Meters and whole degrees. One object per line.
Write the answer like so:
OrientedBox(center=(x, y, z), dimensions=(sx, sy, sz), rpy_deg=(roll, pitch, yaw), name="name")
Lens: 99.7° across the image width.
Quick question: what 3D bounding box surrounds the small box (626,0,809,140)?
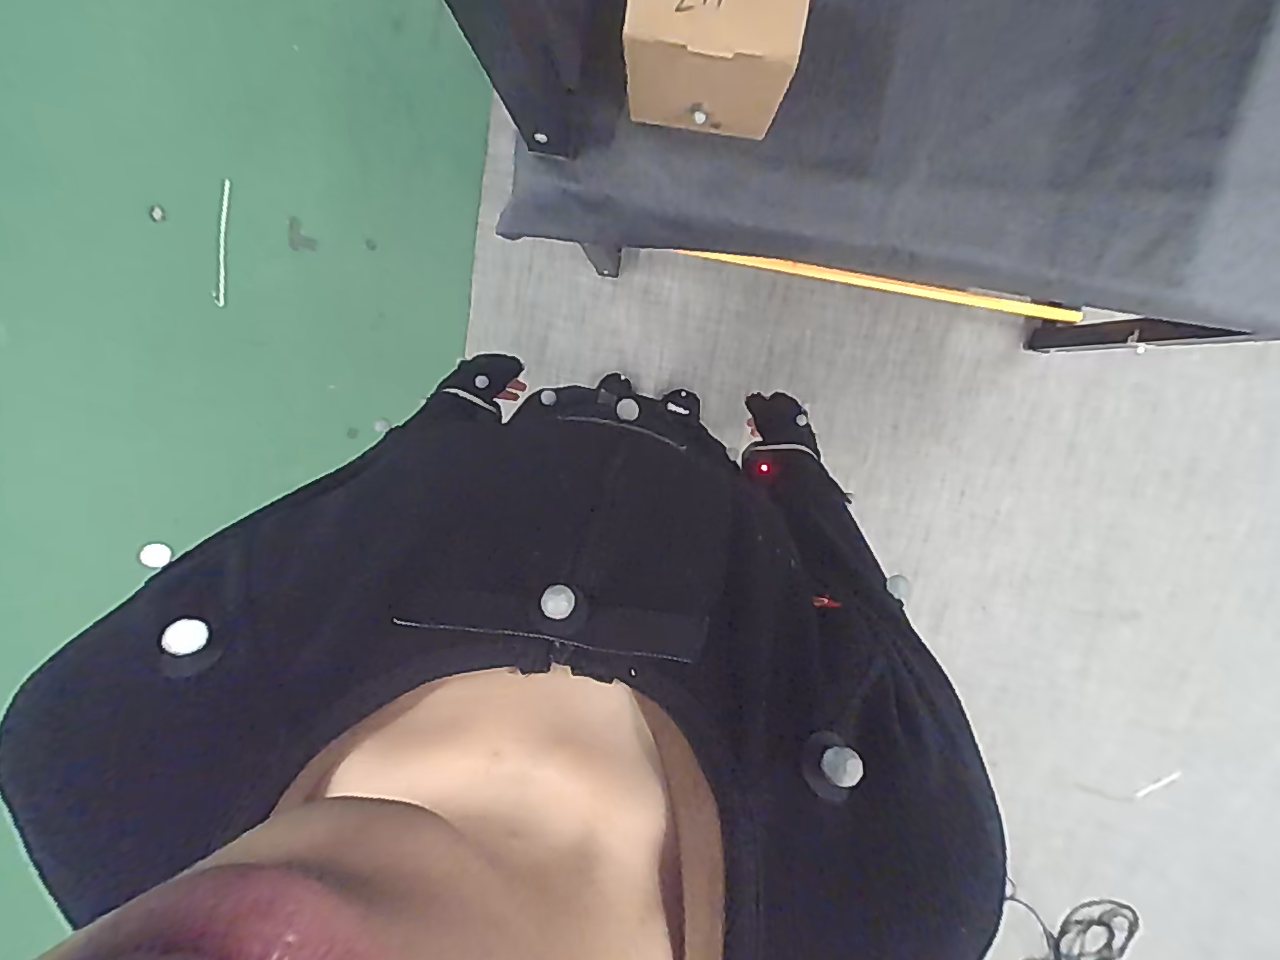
OrientedBox(center=(0.080, -0.494, 0.563), dimensions=(0.168, 0.176, 0.179), rpy_deg=(8, 101, 0), name="small box")
